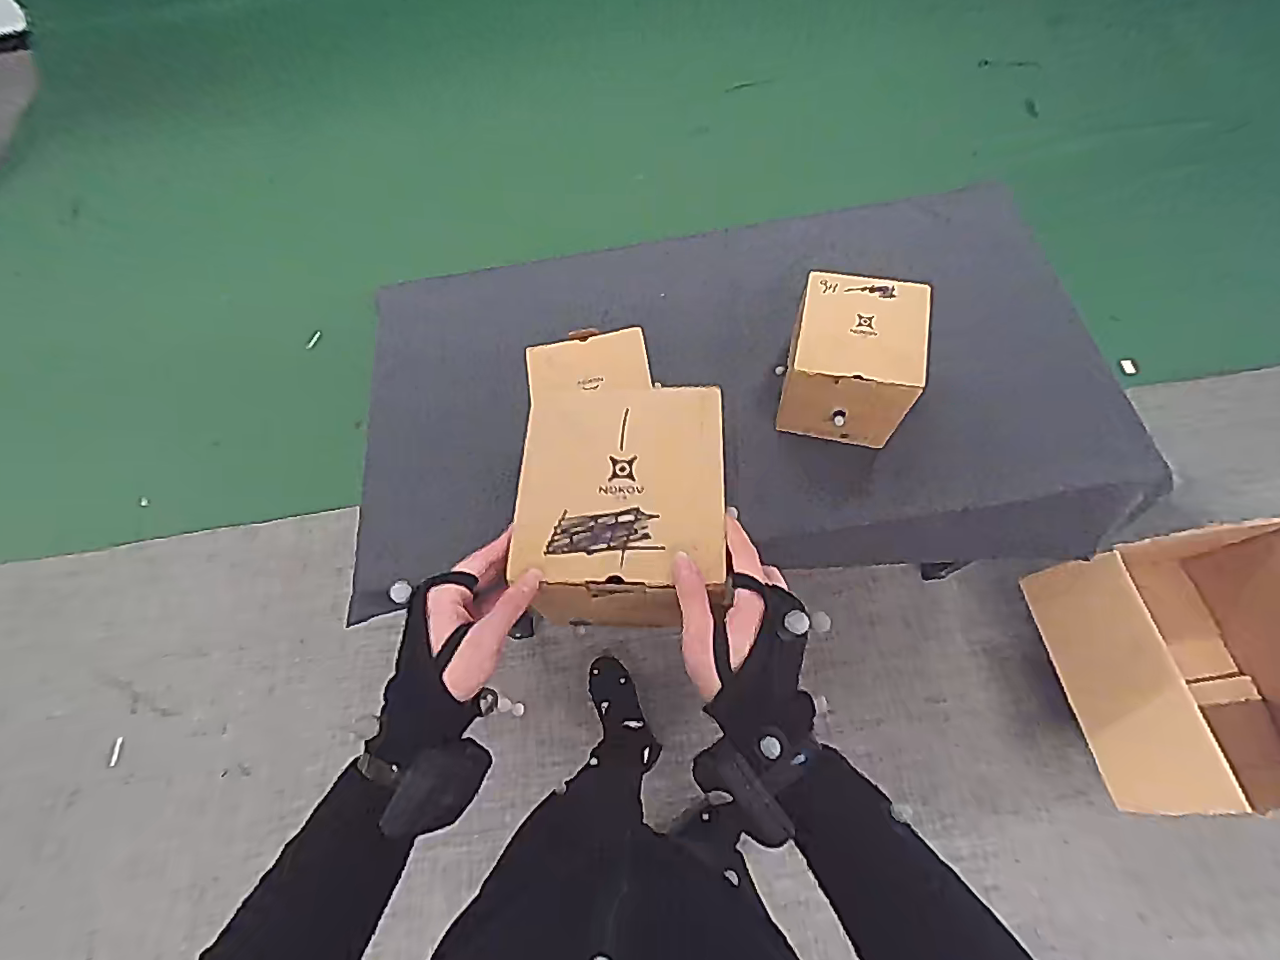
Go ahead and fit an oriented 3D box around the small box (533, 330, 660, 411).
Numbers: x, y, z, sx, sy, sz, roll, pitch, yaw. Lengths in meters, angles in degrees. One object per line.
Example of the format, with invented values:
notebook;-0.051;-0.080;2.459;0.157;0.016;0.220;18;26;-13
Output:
small box;-0.051;-0.086;0.788;0.168;0.176;0.179;-11;66;1

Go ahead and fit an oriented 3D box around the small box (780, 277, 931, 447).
small box;0.311;-0.169;0.807;0.168;0.176;0.179;12;68;10

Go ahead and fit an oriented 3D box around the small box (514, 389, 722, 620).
small box;-0.008;0.032;0.520;0.168;0.176;0.179;1;64;4
